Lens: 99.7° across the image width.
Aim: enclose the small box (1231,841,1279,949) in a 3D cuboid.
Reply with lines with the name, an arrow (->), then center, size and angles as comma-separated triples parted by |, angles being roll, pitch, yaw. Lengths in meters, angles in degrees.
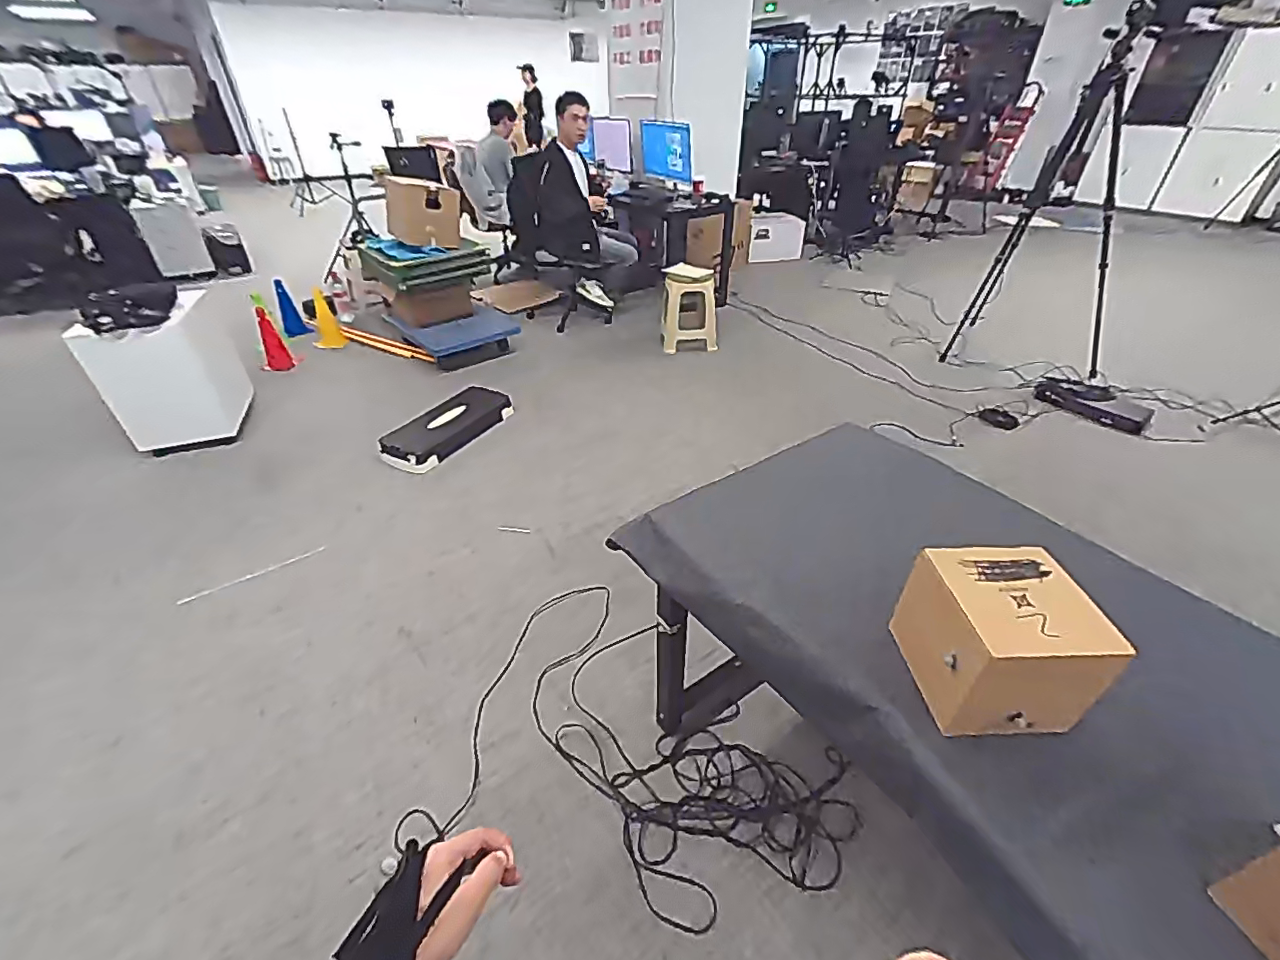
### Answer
small box -> 0.682, 0.379, 0.458 | 0.179, 0.176, 0.168 | -9, 37, -13
